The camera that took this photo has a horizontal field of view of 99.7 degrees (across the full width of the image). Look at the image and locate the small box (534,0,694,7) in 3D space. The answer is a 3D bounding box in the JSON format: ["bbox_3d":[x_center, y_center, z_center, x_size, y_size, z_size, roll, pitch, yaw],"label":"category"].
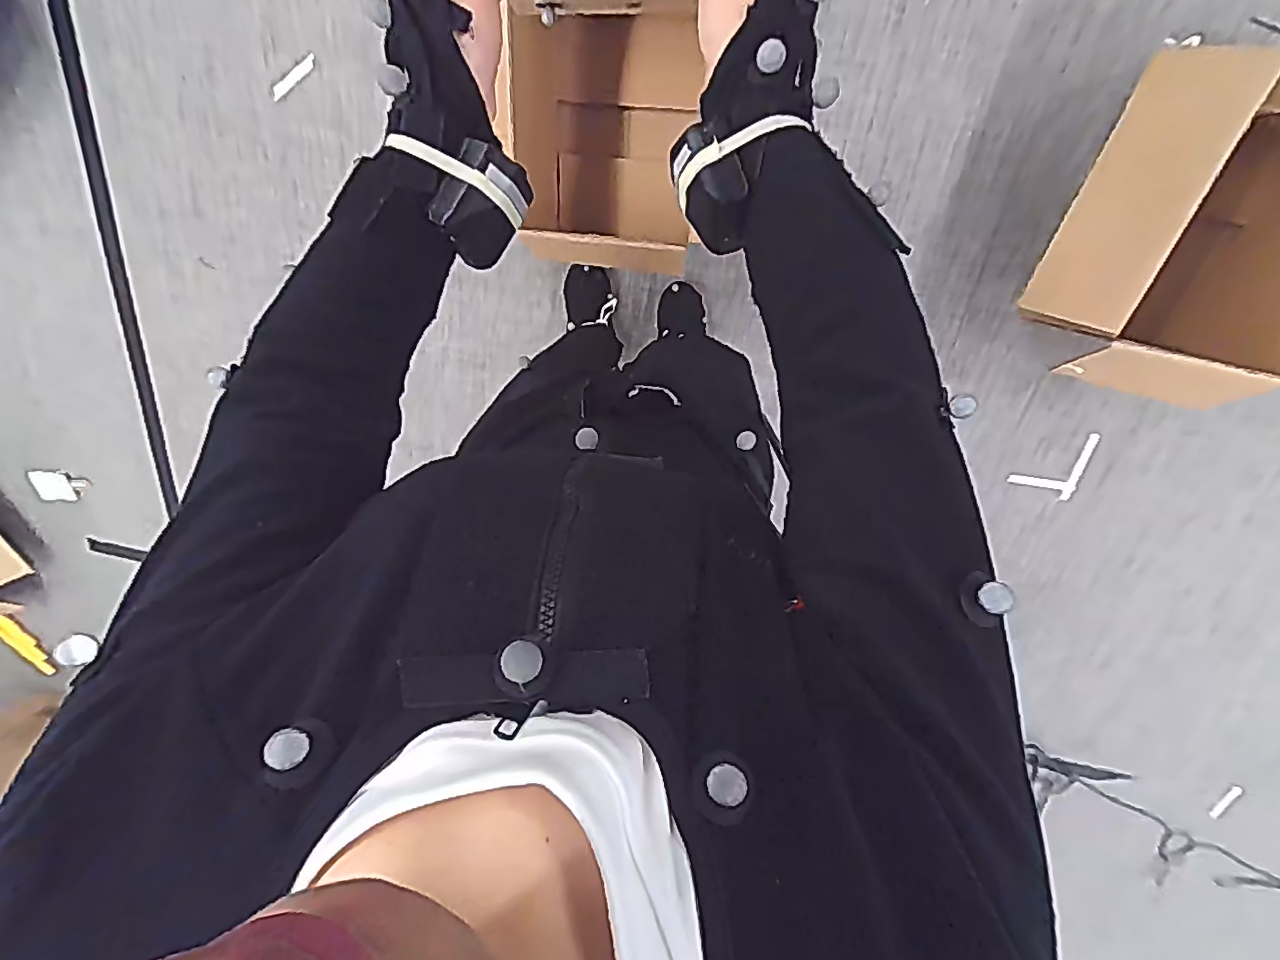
[{"bbox_3d":[-0.028,-0.452,0.364,0.168,0.176,0.179,-1,116,-1],"label":"small box"}]
